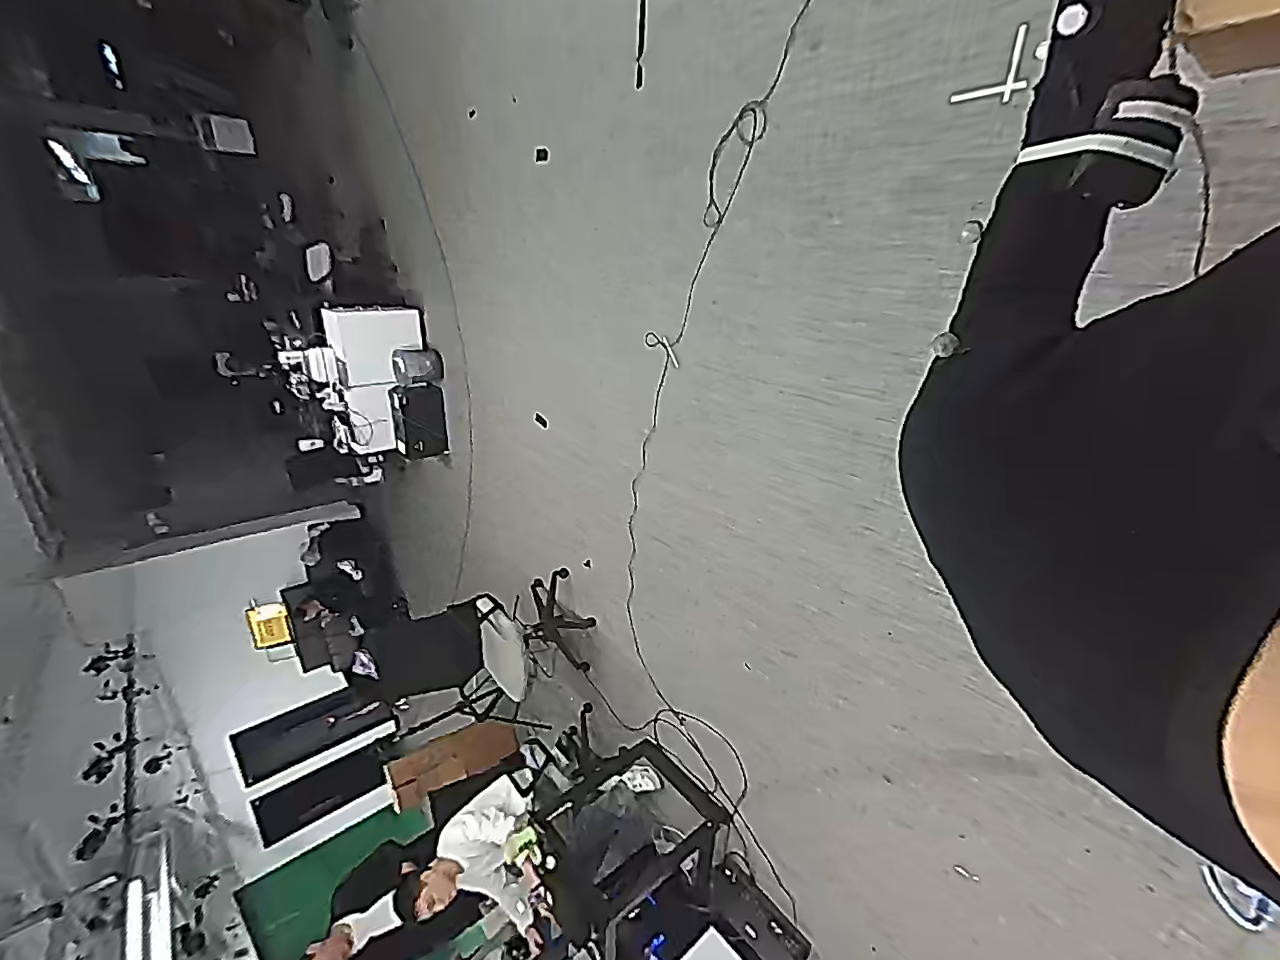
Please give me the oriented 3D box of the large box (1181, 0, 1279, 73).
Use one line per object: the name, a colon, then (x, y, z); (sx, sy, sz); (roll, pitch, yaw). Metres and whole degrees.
large box: (0.564, -0.434, 0.239); (0.408, 0.320, 0.320); (18, 125, 42)
